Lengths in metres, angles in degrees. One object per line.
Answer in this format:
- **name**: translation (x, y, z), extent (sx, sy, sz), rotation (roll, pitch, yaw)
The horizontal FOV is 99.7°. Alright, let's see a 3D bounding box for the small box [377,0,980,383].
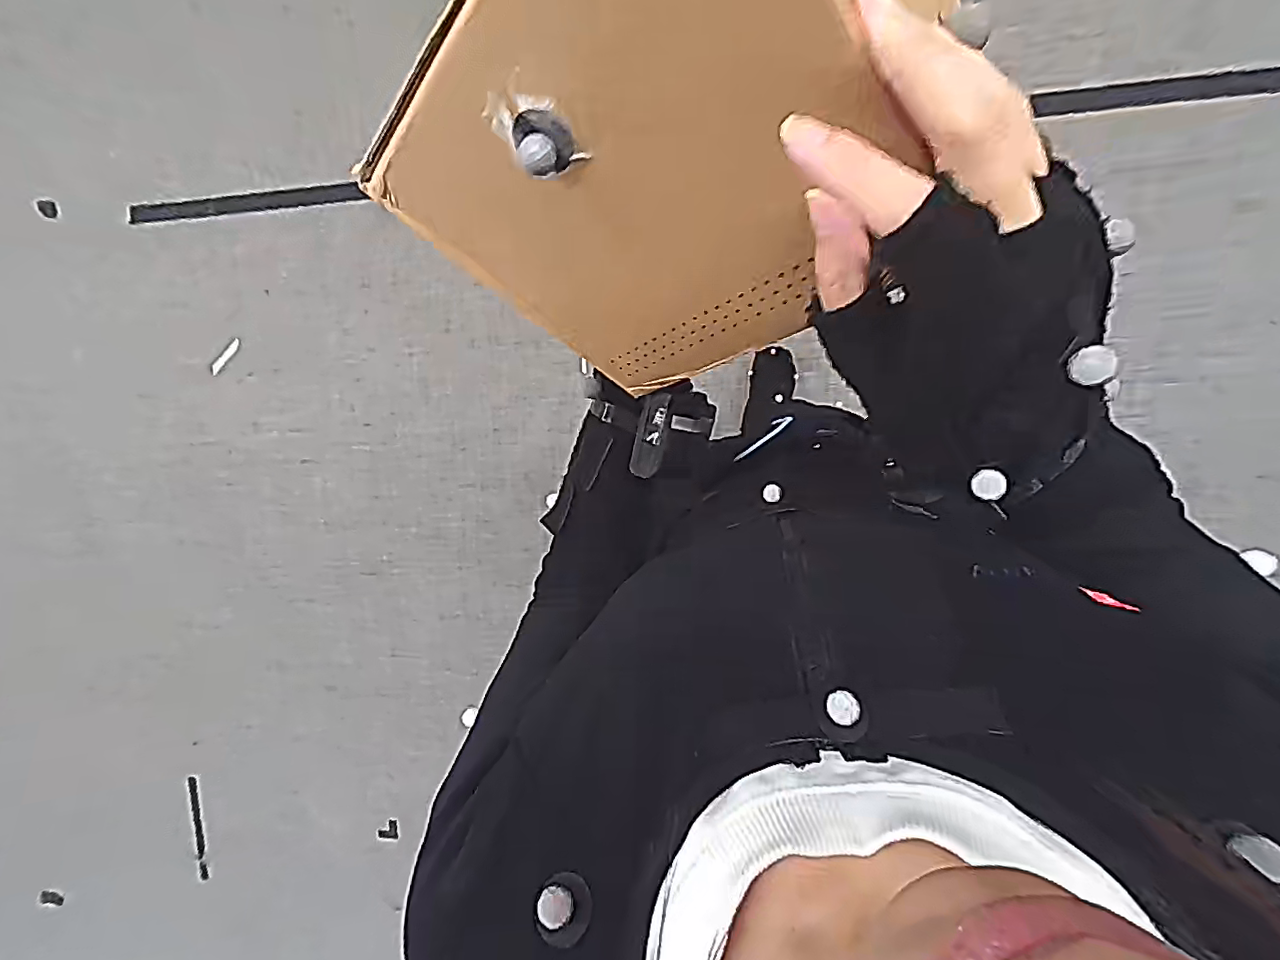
- **small box**: translation (0.023, -0.167, 0.241), extent (0.176, 0.179, 0.168), rotation (32, 61, -34)
